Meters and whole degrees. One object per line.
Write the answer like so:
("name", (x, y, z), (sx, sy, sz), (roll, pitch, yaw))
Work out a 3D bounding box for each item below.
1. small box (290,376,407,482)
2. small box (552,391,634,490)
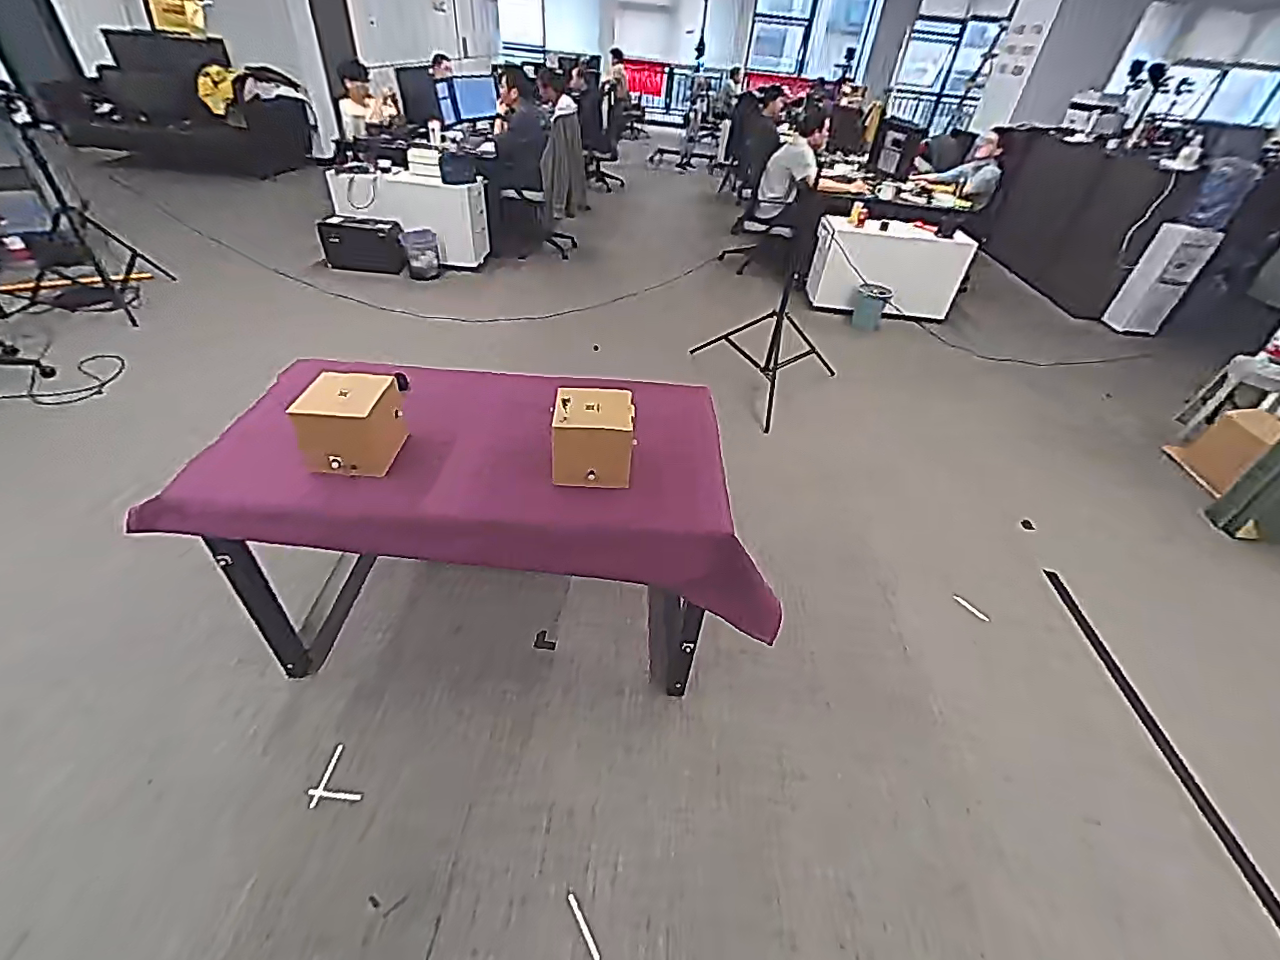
("small box", (-0.651, -0.117, 1.236), (0.168, 0.176, 0.179), (2, 40, -3))
("small box", (-0.110, -0.091, 1.270), (0.179, 0.176, 0.168), (3, 39, -4))
